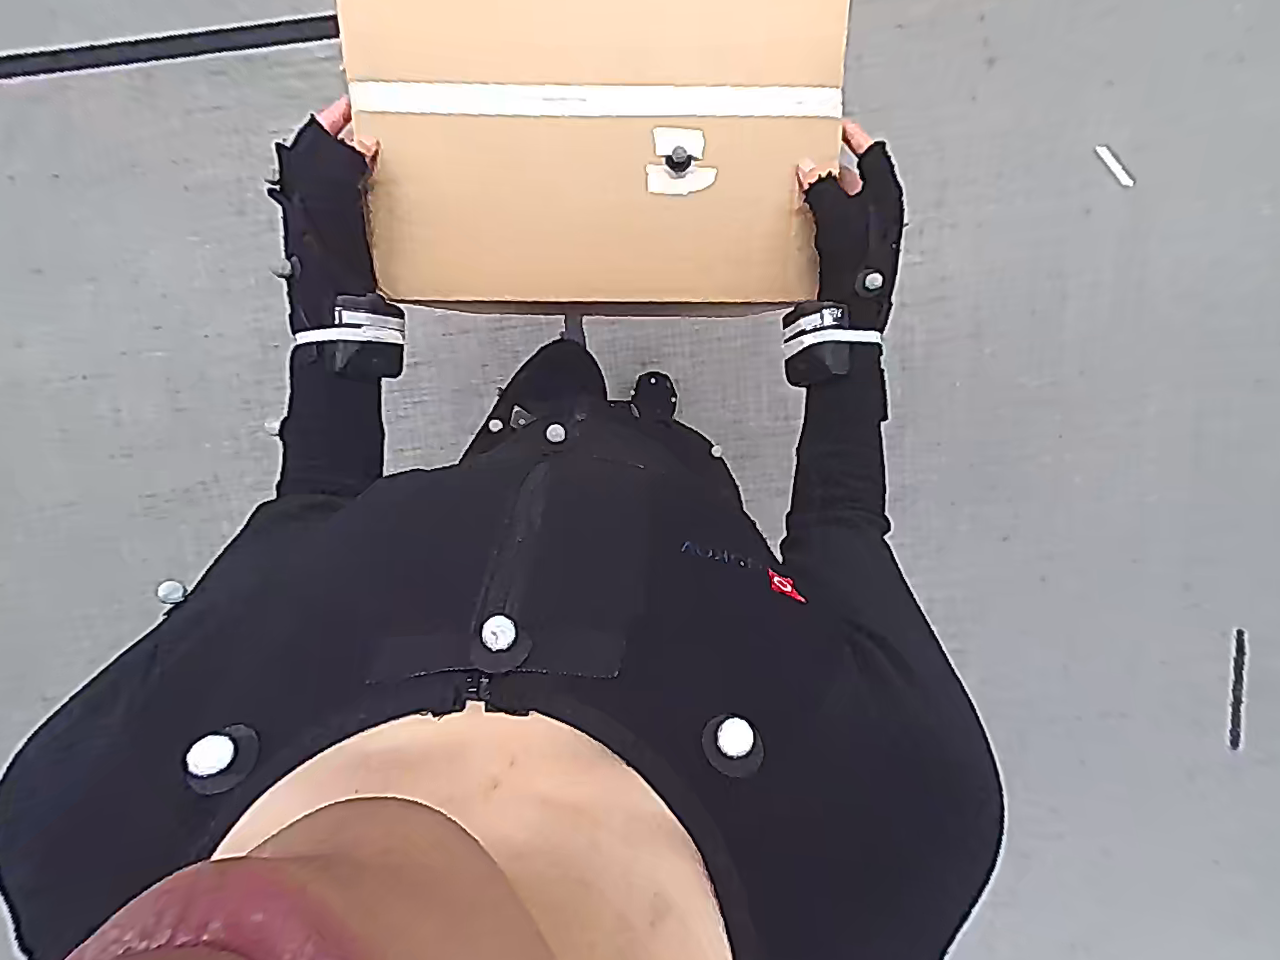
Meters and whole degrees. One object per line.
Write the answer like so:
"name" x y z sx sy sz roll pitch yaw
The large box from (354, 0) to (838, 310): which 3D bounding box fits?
"large box" -0.039 -0.365 0.603 0.408 0.320 0.320 -1 105 -2
